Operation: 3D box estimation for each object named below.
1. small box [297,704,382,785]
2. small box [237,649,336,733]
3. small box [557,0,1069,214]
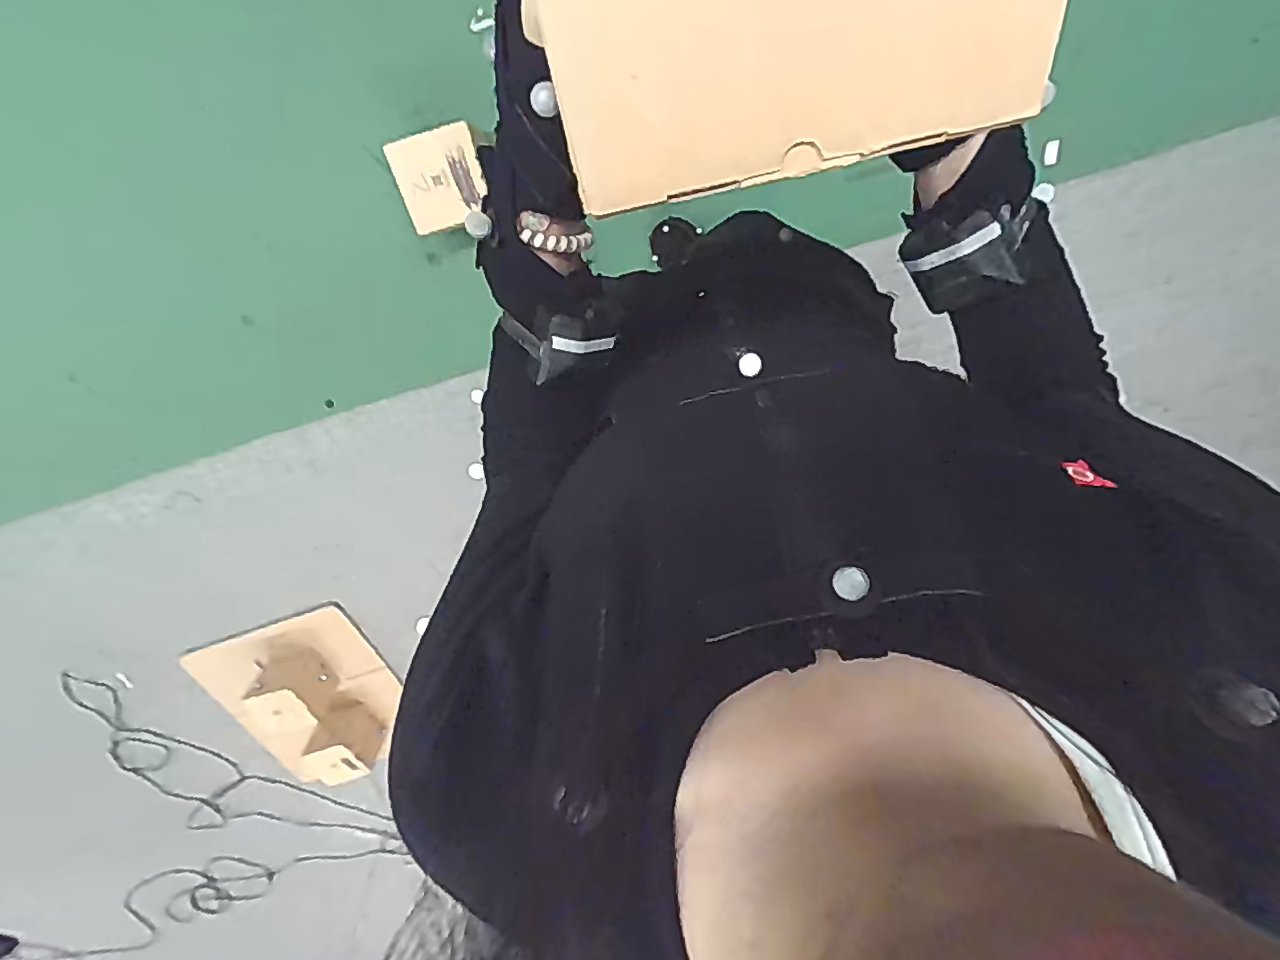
[{"bbox_3d":[-1.021,0.906,1.862,0.179,0.176,0.168,-21,116,7],"label":"small box"},{"bbox_3d":[-1.130,0.677,1.744,0.179,0.176,0.168,-16,118,4],"label":"small box"},{"bbox_3d":[0.048,-0.235,0.212,0.168,0.176,0.179,-9,131,9],"label":"small box"}]
